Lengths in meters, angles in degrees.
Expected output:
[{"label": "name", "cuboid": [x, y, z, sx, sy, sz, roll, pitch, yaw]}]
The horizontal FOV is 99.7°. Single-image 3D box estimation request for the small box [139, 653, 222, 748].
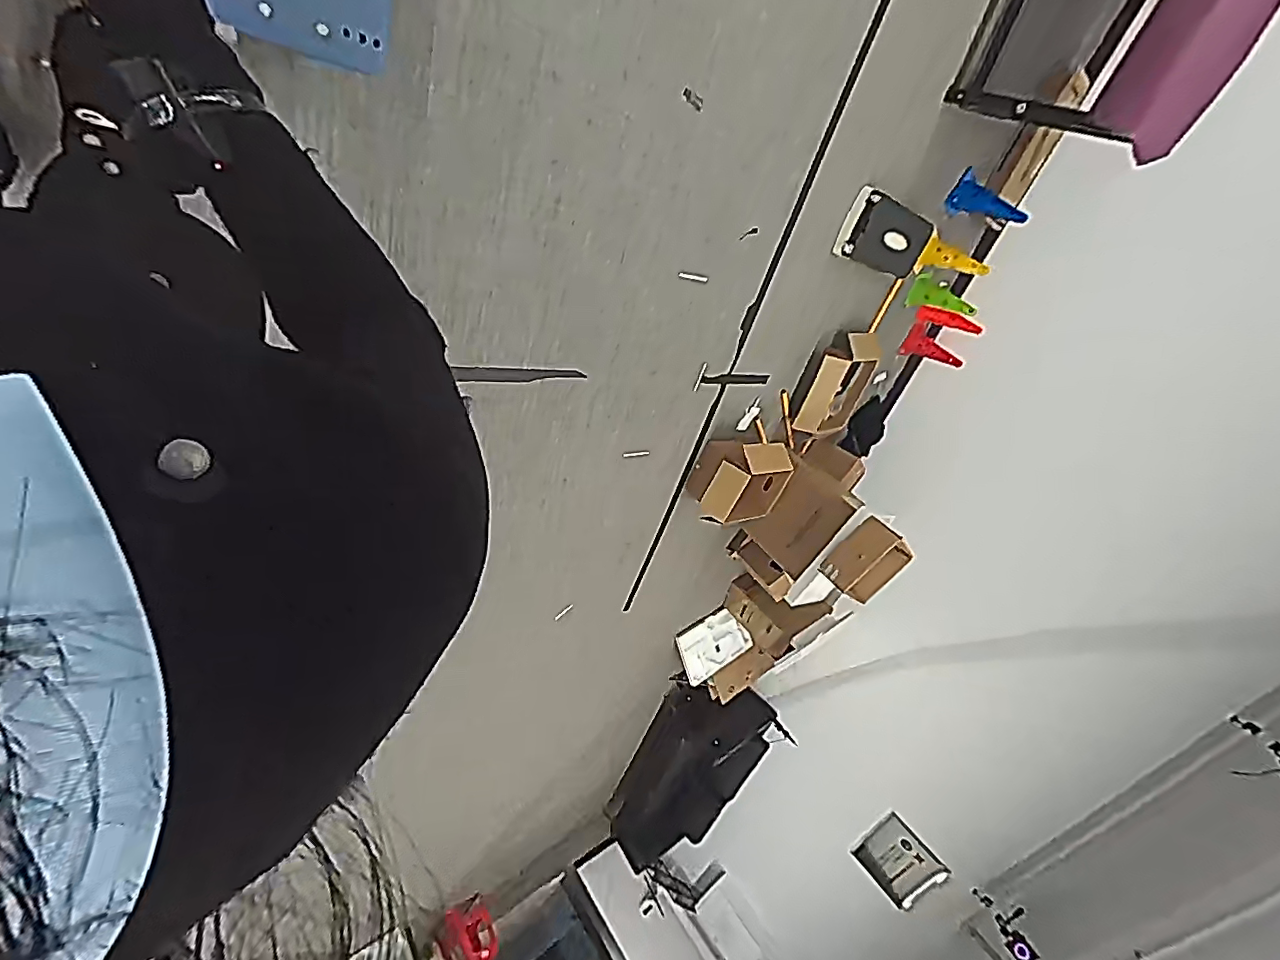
[{"label": "small box", "cuboid": [-1.380, 0.657, 1.627, 0.168, 0.176, 0.179, -11, 133, -41]}]
